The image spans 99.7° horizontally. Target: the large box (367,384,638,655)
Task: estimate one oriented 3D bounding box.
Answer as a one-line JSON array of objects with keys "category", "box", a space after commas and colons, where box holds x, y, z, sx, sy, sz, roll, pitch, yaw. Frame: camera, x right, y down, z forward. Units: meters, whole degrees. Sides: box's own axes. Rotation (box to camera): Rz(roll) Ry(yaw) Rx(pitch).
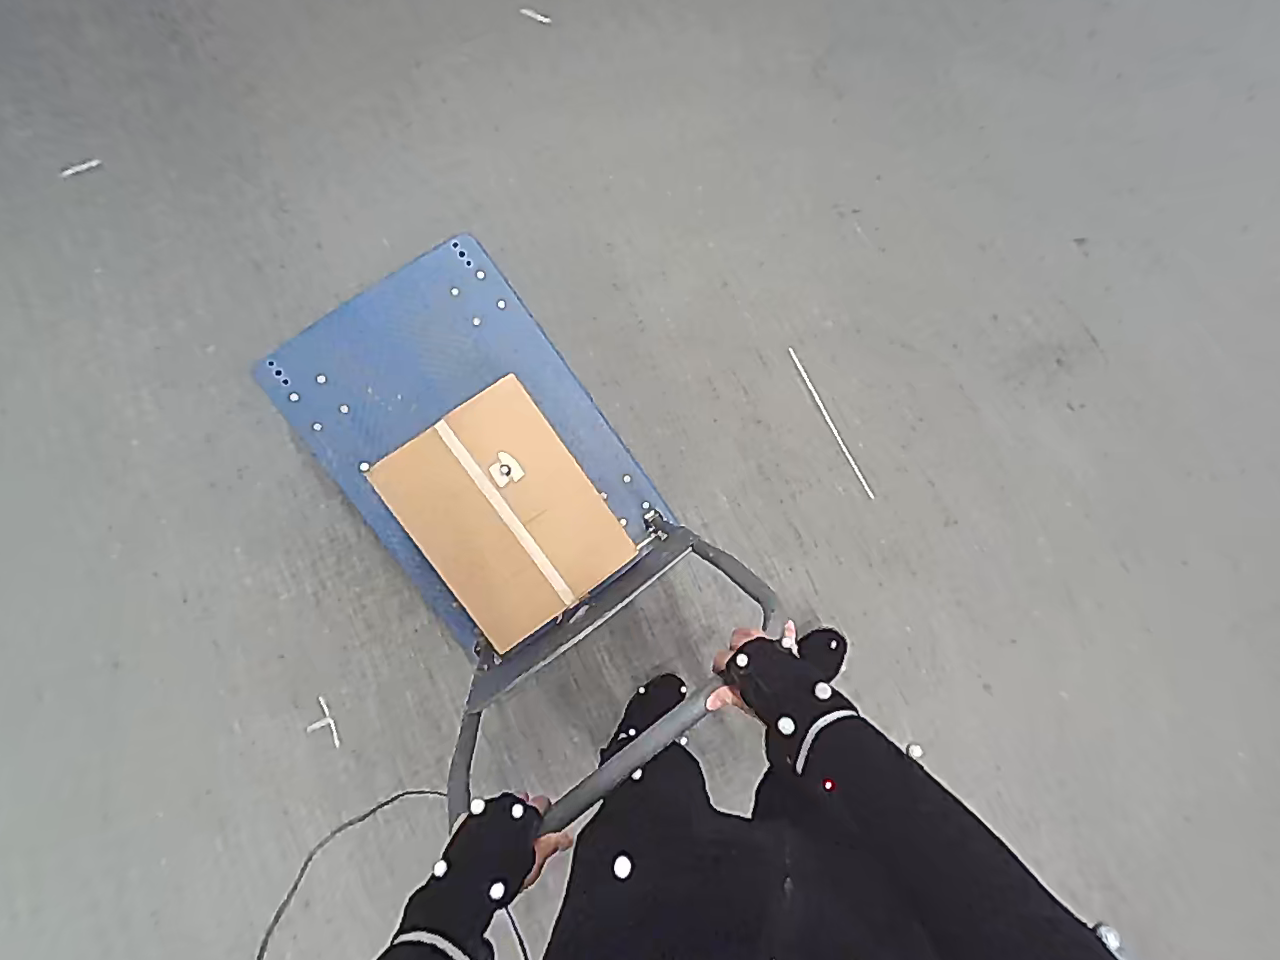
[{"category": "large box", "box": [-0.256, 0.072, 1.117, 0.320, 0.320, 0.408, -37, 95, -7]}]
